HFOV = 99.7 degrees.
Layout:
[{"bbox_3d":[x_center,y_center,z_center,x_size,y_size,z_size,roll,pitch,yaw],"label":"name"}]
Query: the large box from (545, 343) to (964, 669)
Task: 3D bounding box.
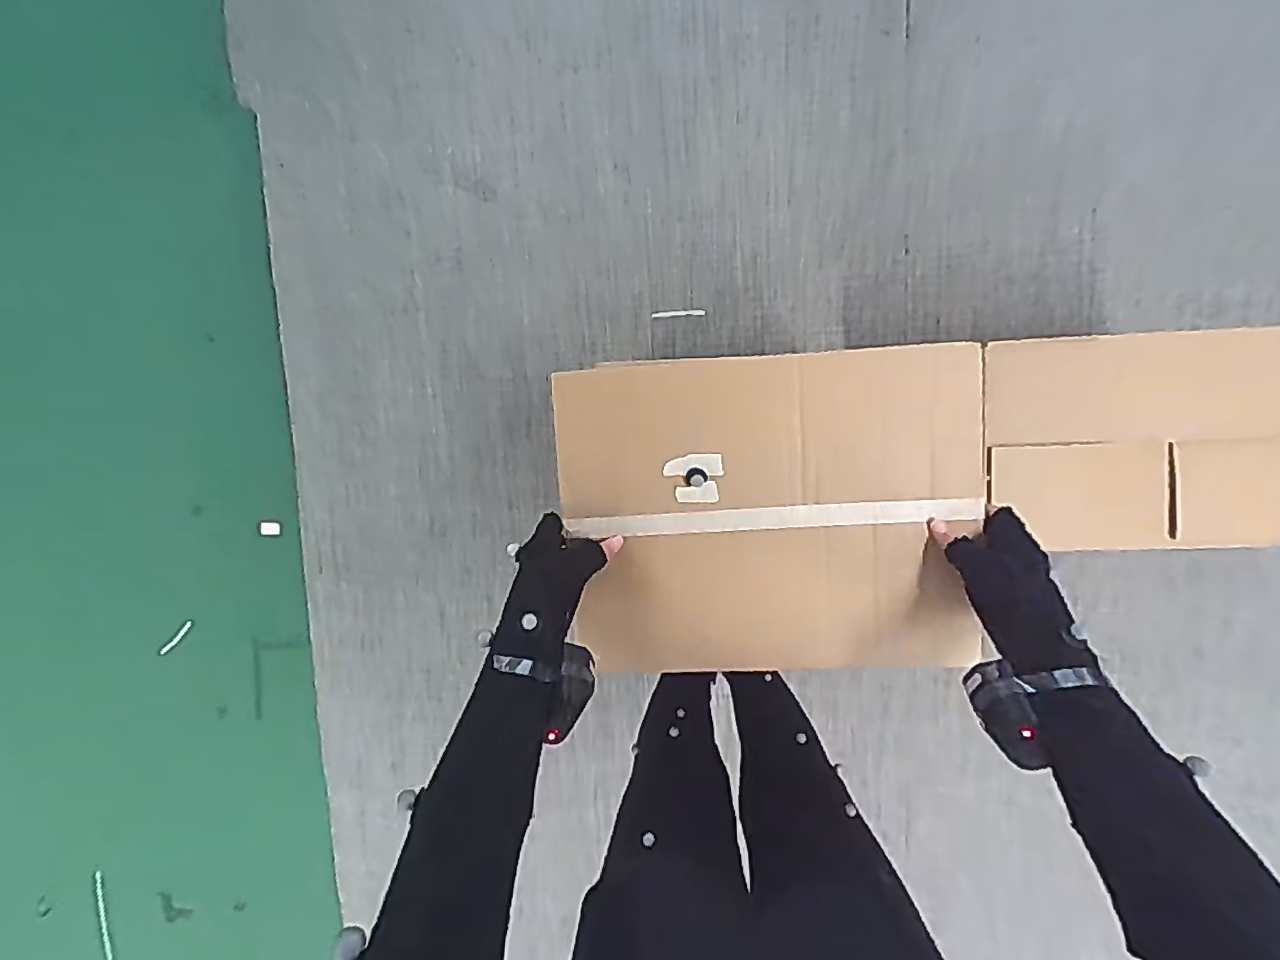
[{"bbox_3d":[0.129,0.019,0.683,0.408,0.320,0.320,-3,96,7],"label":"large box"}]
